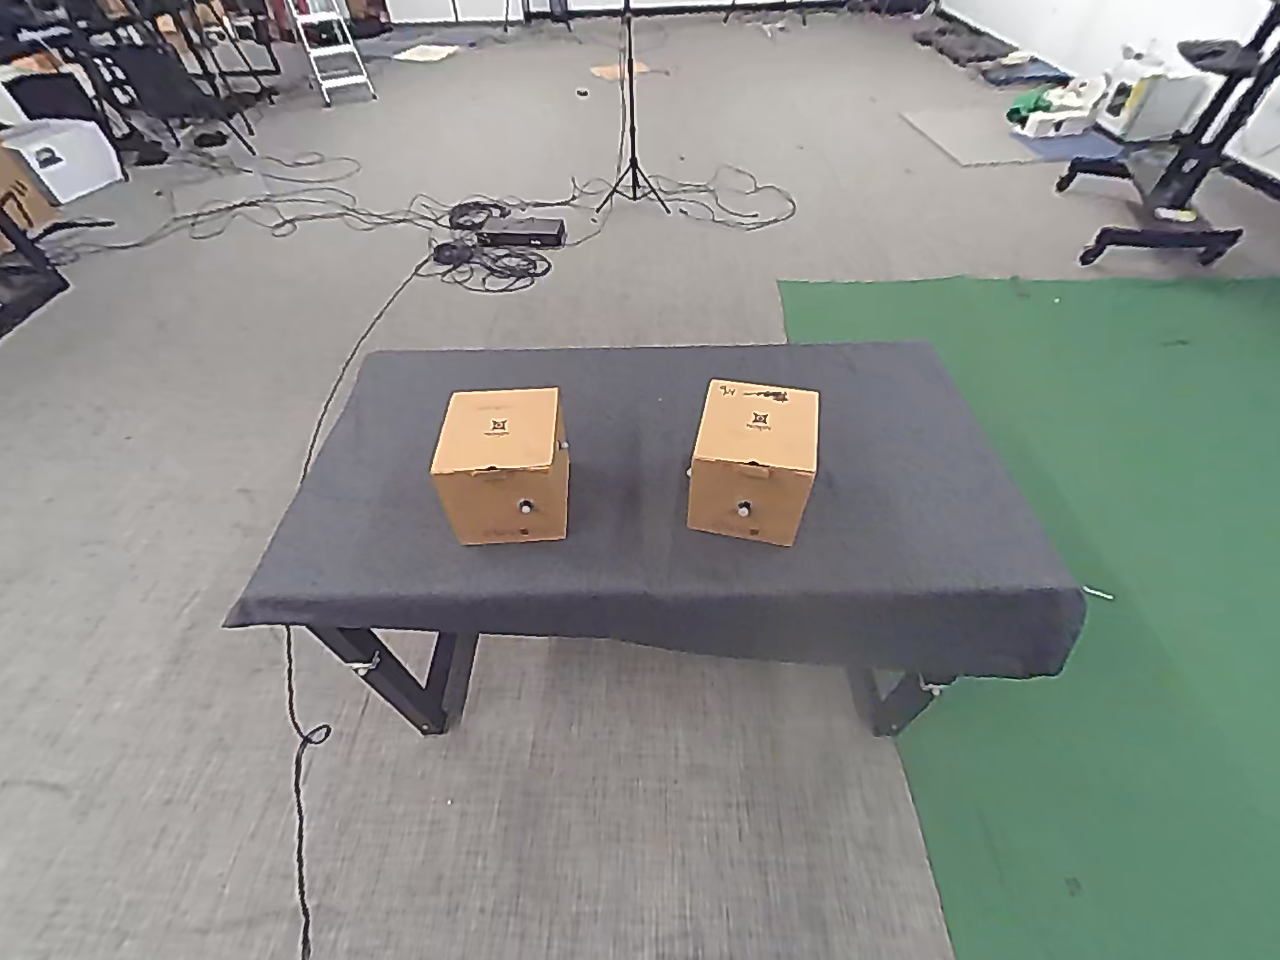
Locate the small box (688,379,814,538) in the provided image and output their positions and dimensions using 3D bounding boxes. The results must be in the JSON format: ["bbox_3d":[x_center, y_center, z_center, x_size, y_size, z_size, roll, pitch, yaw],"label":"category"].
[{"bbox_3d":[0.170,-0.031,0.847,0.168,0.176,0.179,9,50,10],"label":"small box"}]

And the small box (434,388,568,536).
[{"bbox_3d":[-0.204,-0.023,0.852,0.168,0.176,0.179,-3,46,-3],"label":"small box"}]
